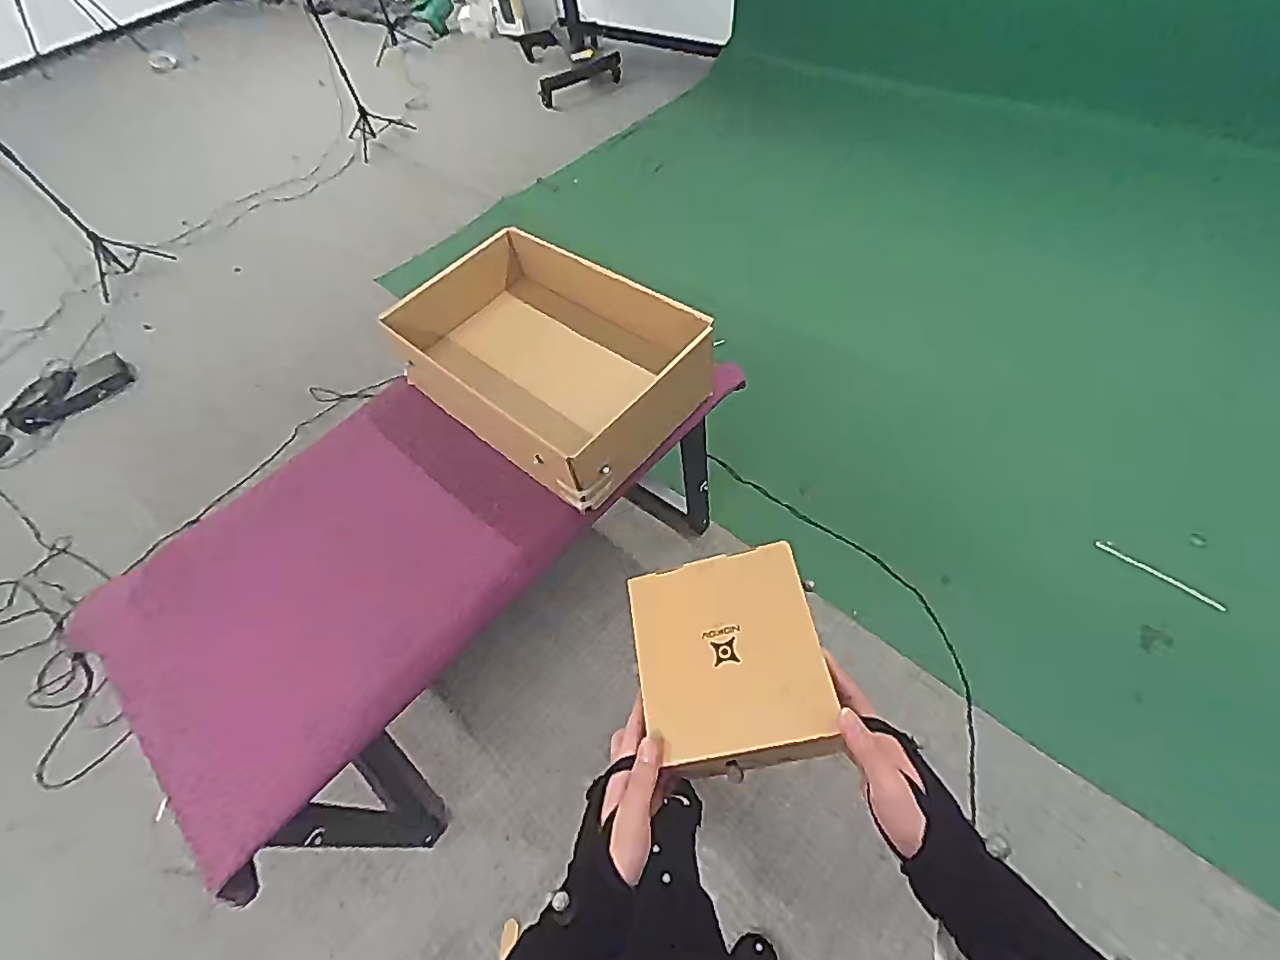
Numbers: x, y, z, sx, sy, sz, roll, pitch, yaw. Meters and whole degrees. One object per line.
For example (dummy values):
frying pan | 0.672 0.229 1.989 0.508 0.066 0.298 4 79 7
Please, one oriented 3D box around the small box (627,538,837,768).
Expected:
small box | 0.097 0.187 0.556 0.168 0.176 0.179 -16 55 10
